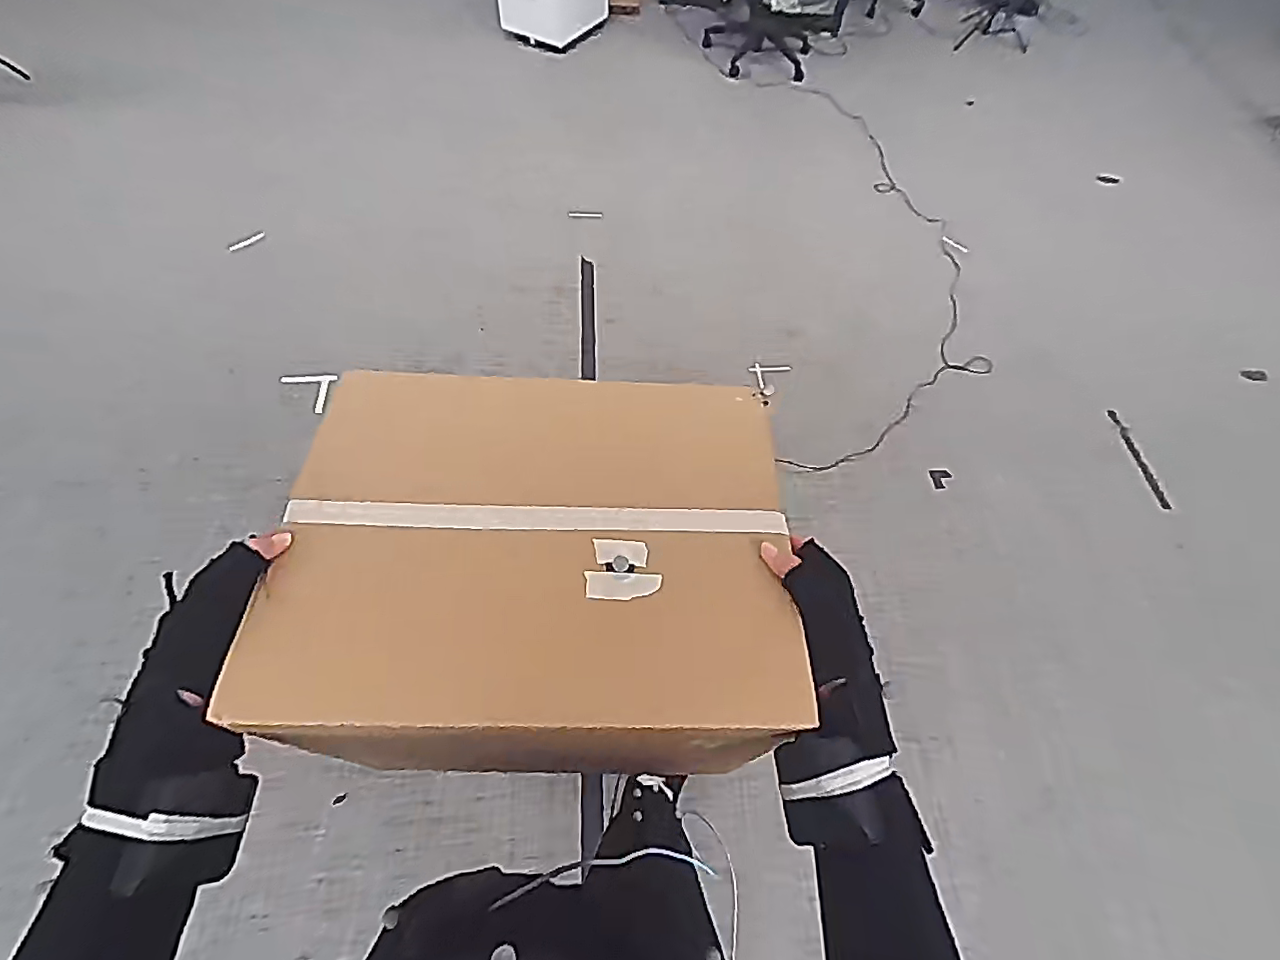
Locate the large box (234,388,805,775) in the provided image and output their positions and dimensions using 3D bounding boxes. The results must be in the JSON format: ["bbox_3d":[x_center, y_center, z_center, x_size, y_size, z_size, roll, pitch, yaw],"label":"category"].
[{"bbox_3d":[-0.090,0.124,0.579,0.408,0.320,0.320,2,57,-3],"label":"large box"}]
